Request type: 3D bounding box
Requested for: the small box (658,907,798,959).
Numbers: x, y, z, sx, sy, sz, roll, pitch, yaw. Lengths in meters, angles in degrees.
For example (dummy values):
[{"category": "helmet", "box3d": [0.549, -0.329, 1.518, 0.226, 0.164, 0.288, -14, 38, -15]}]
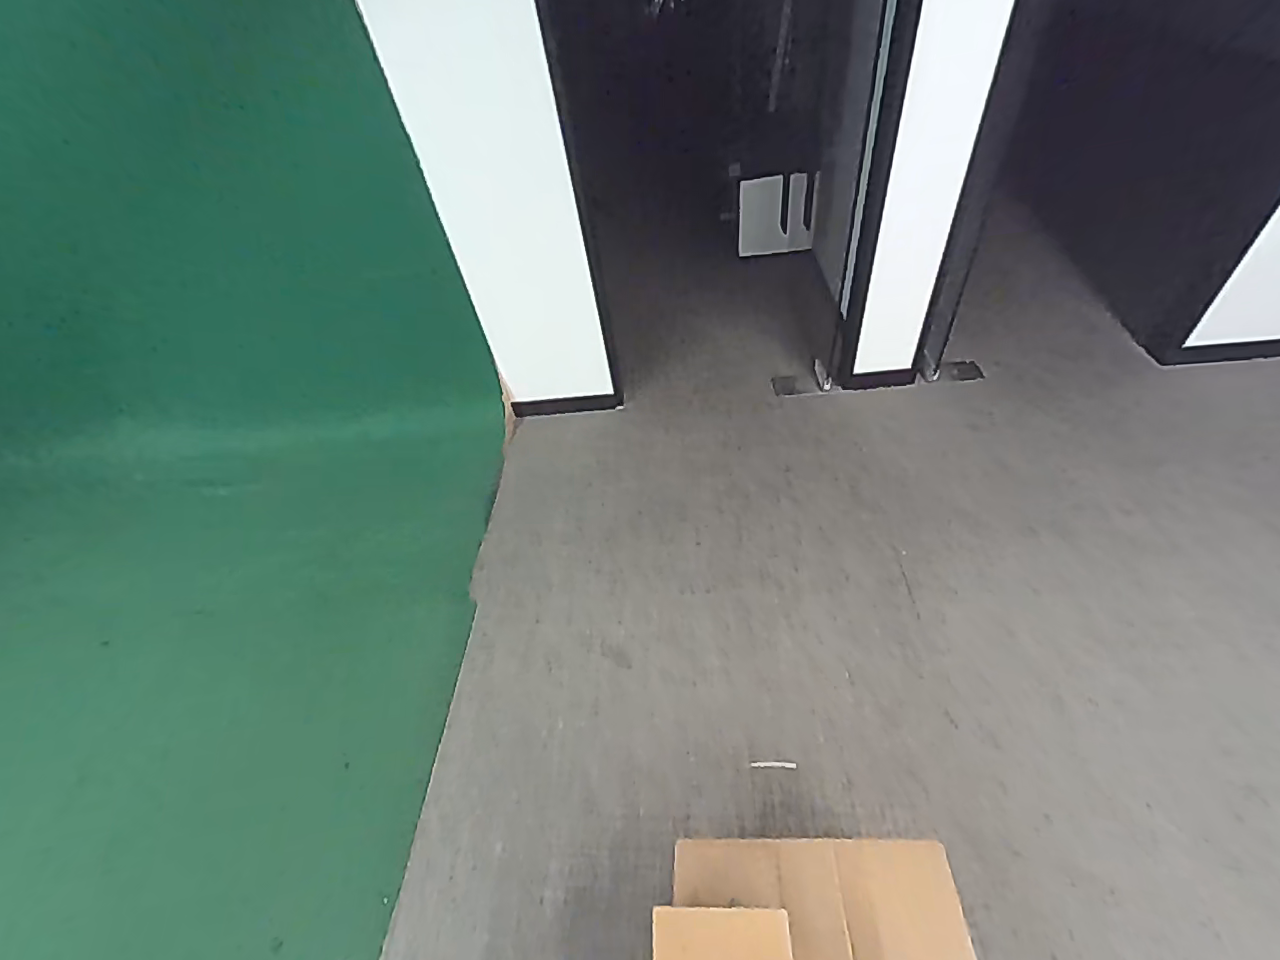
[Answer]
[{"category": "small box", "box3d": [0.108, 0.642, 0.662, 0.168, 0.176, 0.179, -4, 49, 5]}]
